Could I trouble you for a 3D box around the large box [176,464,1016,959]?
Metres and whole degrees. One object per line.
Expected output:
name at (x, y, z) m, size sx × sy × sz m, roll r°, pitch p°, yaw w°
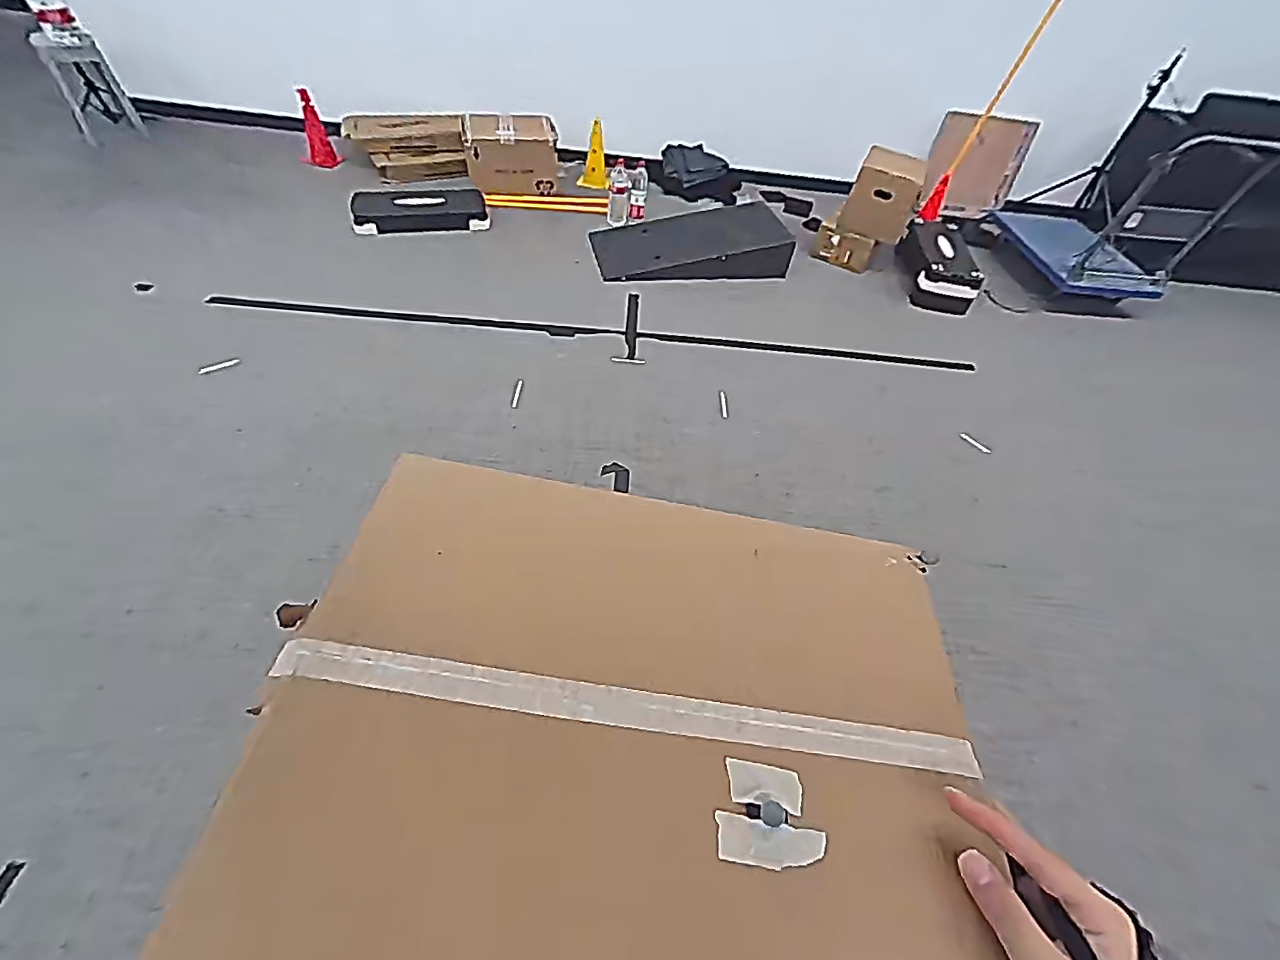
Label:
large box at (-0.020, 0.230, 0.439) m, size 0.408 × 0.320 × 0.320 m, roll 11°, pitch 50°, yaw -5°
